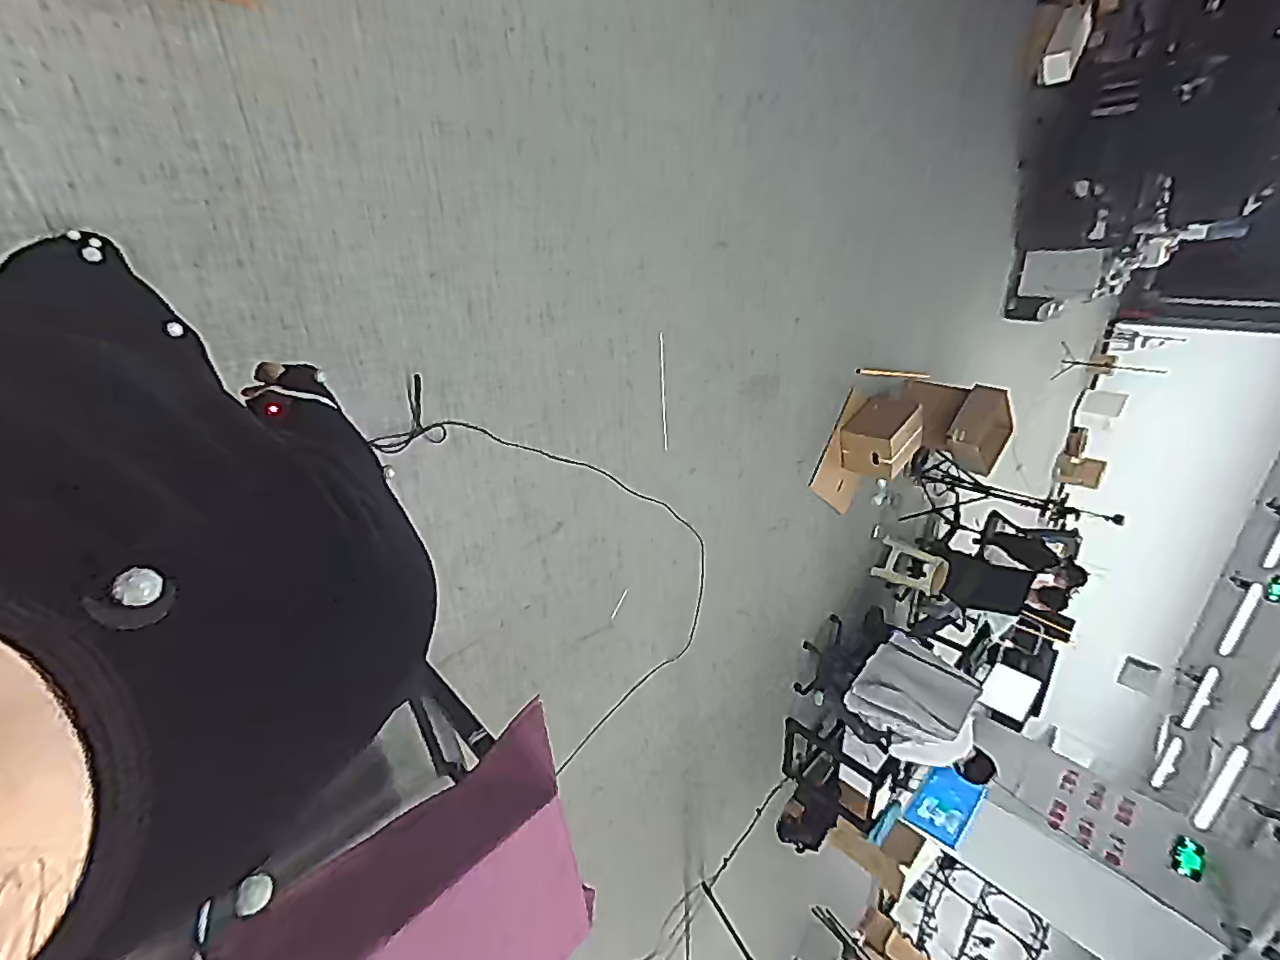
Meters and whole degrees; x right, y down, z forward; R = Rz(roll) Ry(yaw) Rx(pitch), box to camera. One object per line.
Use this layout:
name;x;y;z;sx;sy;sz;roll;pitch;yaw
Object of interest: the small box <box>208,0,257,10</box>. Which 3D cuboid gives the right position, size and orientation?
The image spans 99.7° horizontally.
small box;-0.773;-0.960;0.937;0.168;0.176;0.179;-21;120;-39
